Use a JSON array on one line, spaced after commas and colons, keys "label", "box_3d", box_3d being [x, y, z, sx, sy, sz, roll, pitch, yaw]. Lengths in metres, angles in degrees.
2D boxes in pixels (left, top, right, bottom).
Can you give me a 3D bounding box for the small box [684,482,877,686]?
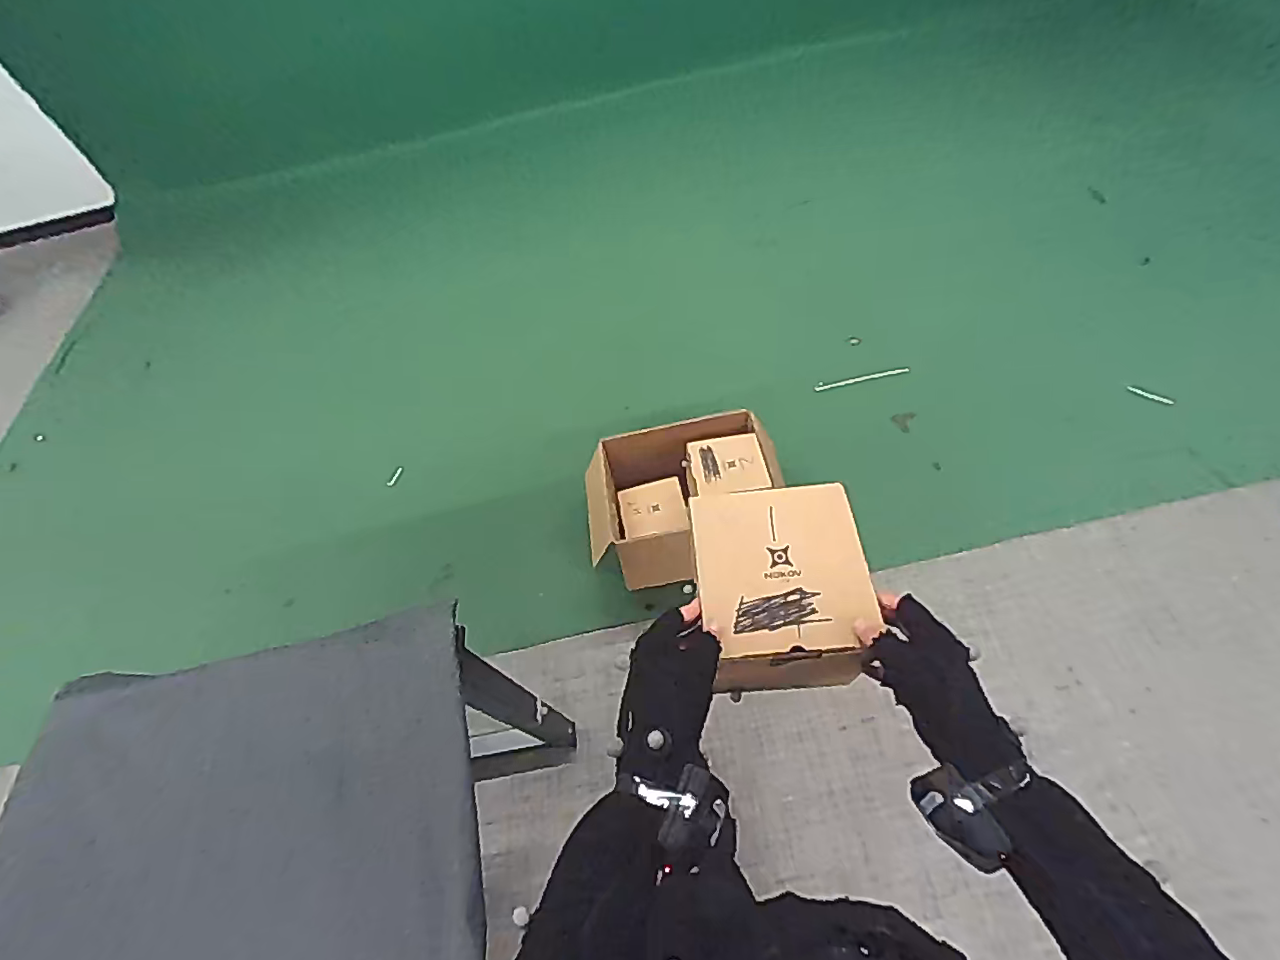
[{"label": "small box", "box_3d": [0.140, 0.125, 0.604, 0.168, 0.176, 0.179, -5, 57, 3]}]
